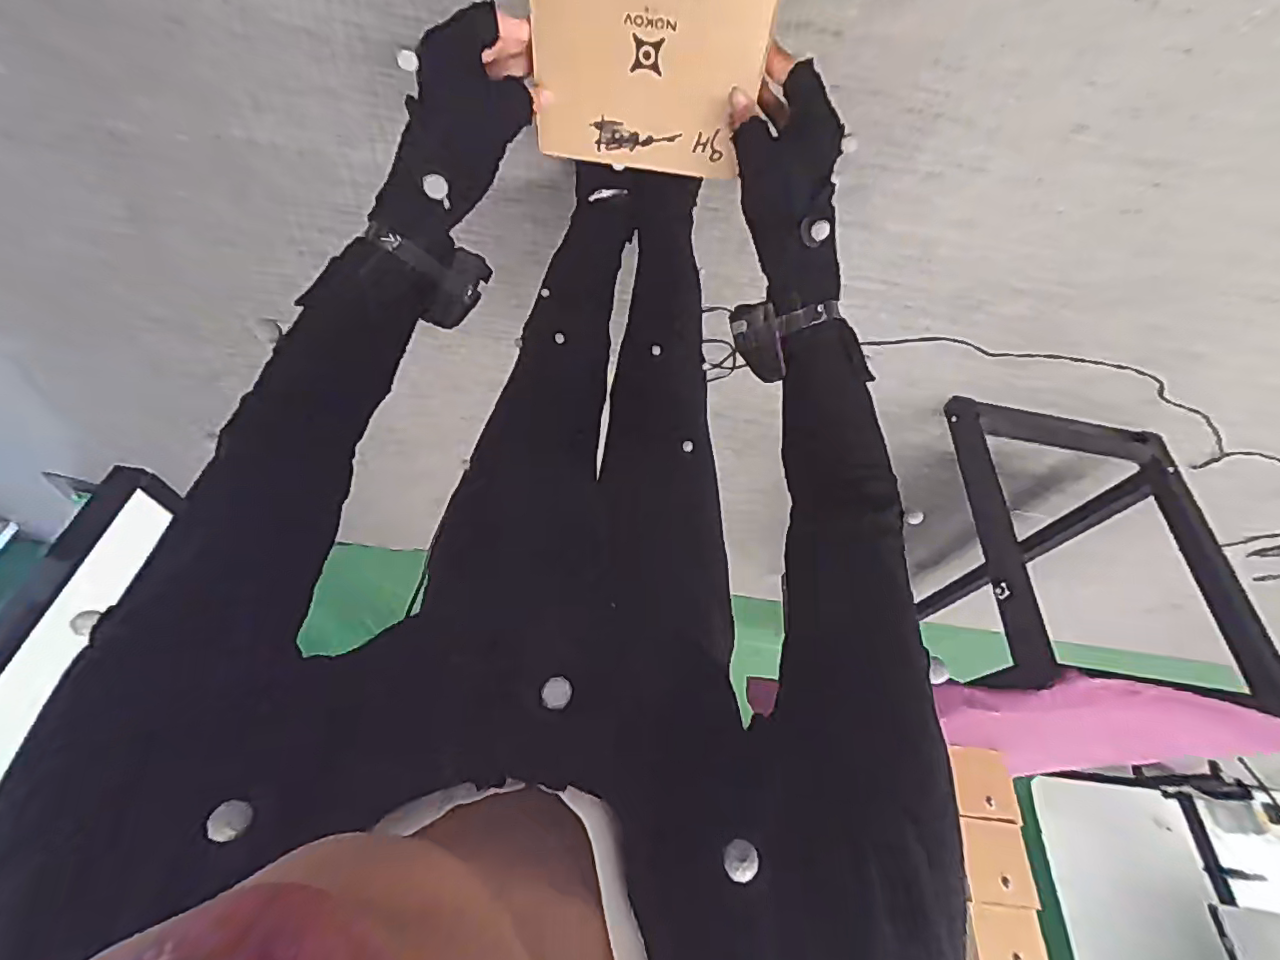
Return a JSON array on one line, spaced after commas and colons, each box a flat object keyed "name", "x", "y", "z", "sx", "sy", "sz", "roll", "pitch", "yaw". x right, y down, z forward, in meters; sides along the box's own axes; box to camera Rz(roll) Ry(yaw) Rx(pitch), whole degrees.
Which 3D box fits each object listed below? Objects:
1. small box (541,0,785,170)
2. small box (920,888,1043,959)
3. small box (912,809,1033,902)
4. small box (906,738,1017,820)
[{"name": "small box", "x": 0.018, "y": -0.381, "z": 0.417, "sx": 0.168, "sy": 0.176, "sz": 0.179, "roll": 7, "pitch": 147, "yaw": -3}, {"name": "small box", "x": 0.782, "y": 1.057, "z": 1.246, "sx": 0.179, "sy": 0.176, "sz": 0.168, "roll": 11, "pitch": 146, "yaw": -7}, {"name": "small box", "x": 0.808, "y": 0.921, "z": 1.335, "sx": 0.179, "sy": 0.176, "sz": 0.168, "roll": 11, "pitch": 145, "yaw": -6}, {"name": "small box", "x": 0.840, "y": 0.791, "z": 1.431, "sx": 0.179, "sy": 0.176, "sz": 0.168, "roll": 12, "pitch": 146, "yaw": -7}]
